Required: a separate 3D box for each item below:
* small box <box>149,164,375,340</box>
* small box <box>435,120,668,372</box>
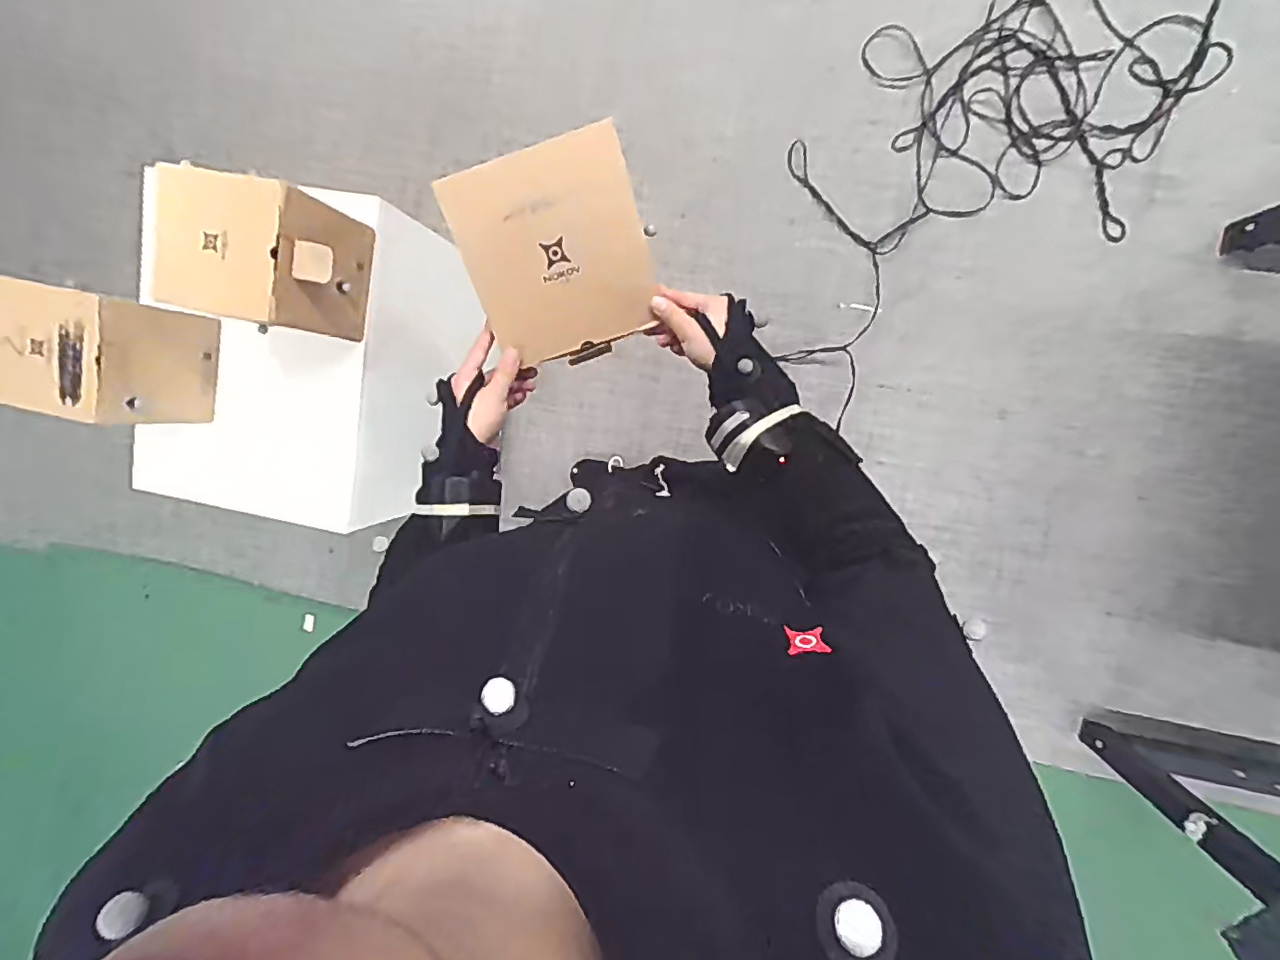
[{"bbox_3d":[-0.493,-0.291,0.723,0.179,0.176,0.168,12,98,8],"label":"small box"},{"bbox_3d":[-0.075,-0.235,0.557,0.168,0.176,0.179,-17,114,5],"label":"small box"}]
